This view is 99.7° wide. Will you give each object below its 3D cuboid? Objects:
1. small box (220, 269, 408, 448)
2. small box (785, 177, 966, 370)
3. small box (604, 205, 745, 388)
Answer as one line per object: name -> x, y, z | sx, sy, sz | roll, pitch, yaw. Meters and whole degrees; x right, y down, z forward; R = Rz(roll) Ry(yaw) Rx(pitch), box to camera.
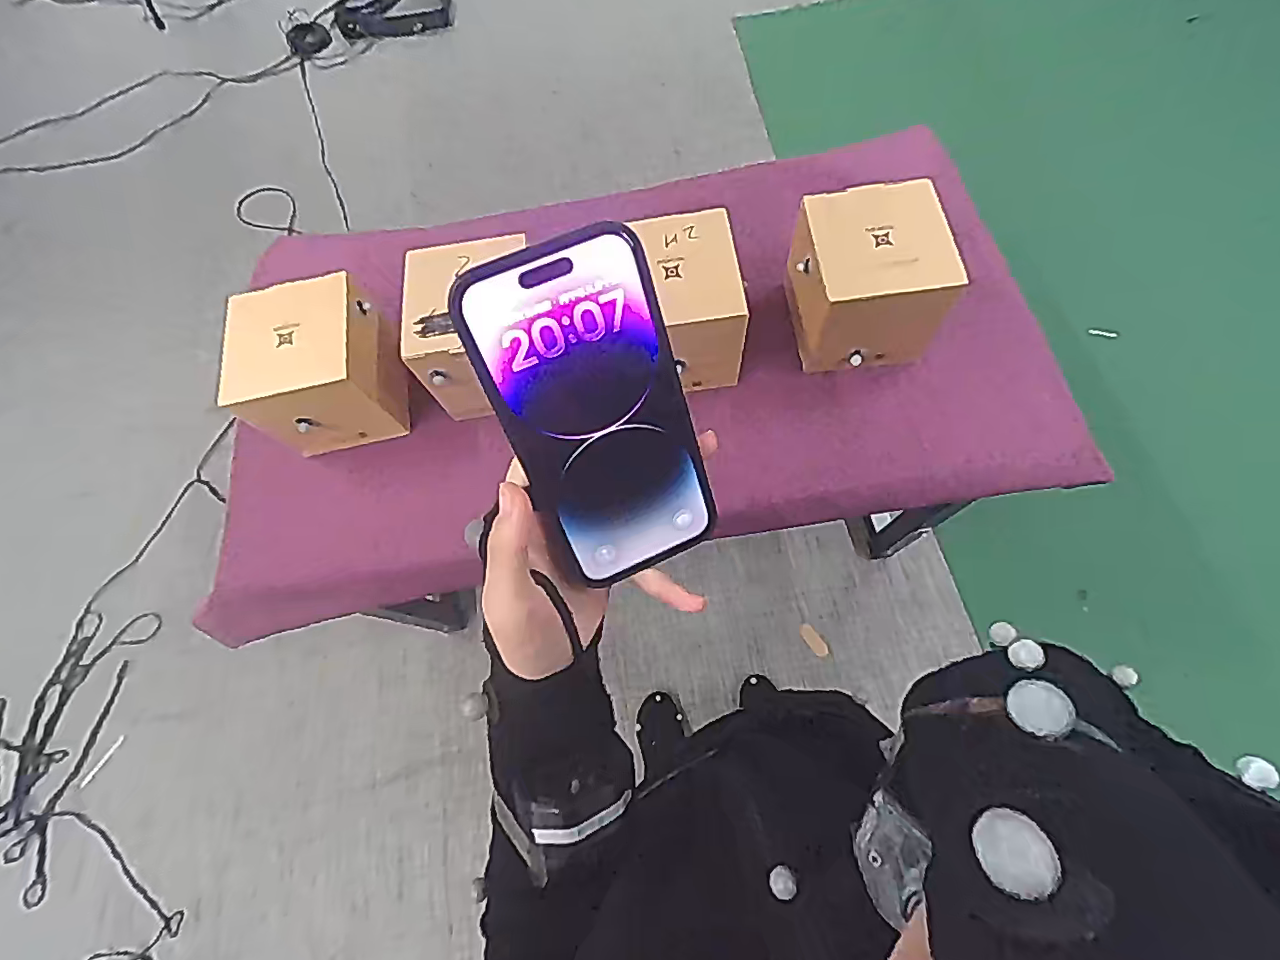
small box -> -0.447, -0.159, 0.769 | 0.168, 0.176, 0.179 | -13, 68, 0
small box -> 0.305, -0.276, 0.745 | 0.168, 0.176, 0.179 | -6, 69, 4
small box -> 0.046, -0.242, 0.754 | 0.168, 0.176, 0.179 | -7, 68, 2
